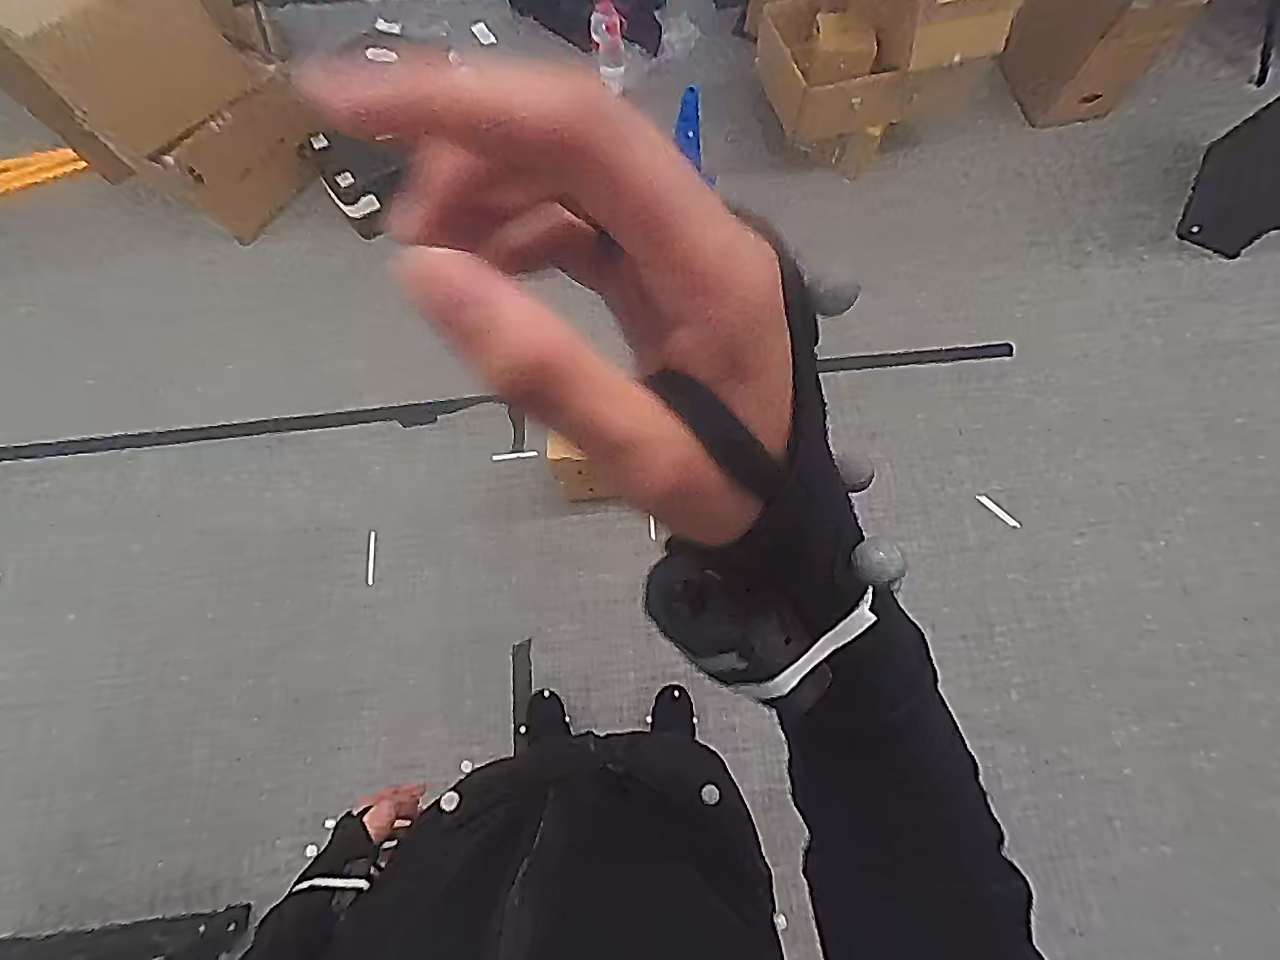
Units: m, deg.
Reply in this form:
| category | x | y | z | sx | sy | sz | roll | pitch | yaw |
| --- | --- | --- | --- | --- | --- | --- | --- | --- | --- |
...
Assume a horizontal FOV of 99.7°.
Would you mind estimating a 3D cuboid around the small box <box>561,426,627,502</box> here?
| category | x | y | z | sx | sy | sz | roll | pitch | yaw |
| --- | --- | --- | --- | --- | --- | --- | --- | --- | --- |
| small box | -0.132 | -0.042 | 1.534 | 0.179 | 0.176 | 0.168 | -7 | 72 | -2 |

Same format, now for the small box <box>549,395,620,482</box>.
| category | x | y | z | sx | sy | sz | roll | pitch | yaw |
| --- | --- | --- | --- | --- | --- | --- | --- | --- | --- |
| small box | -0.137 | -0.103 | 1.383 | 0.168 | 0.176 | 0.179 | -2 | 73 | -1 |
